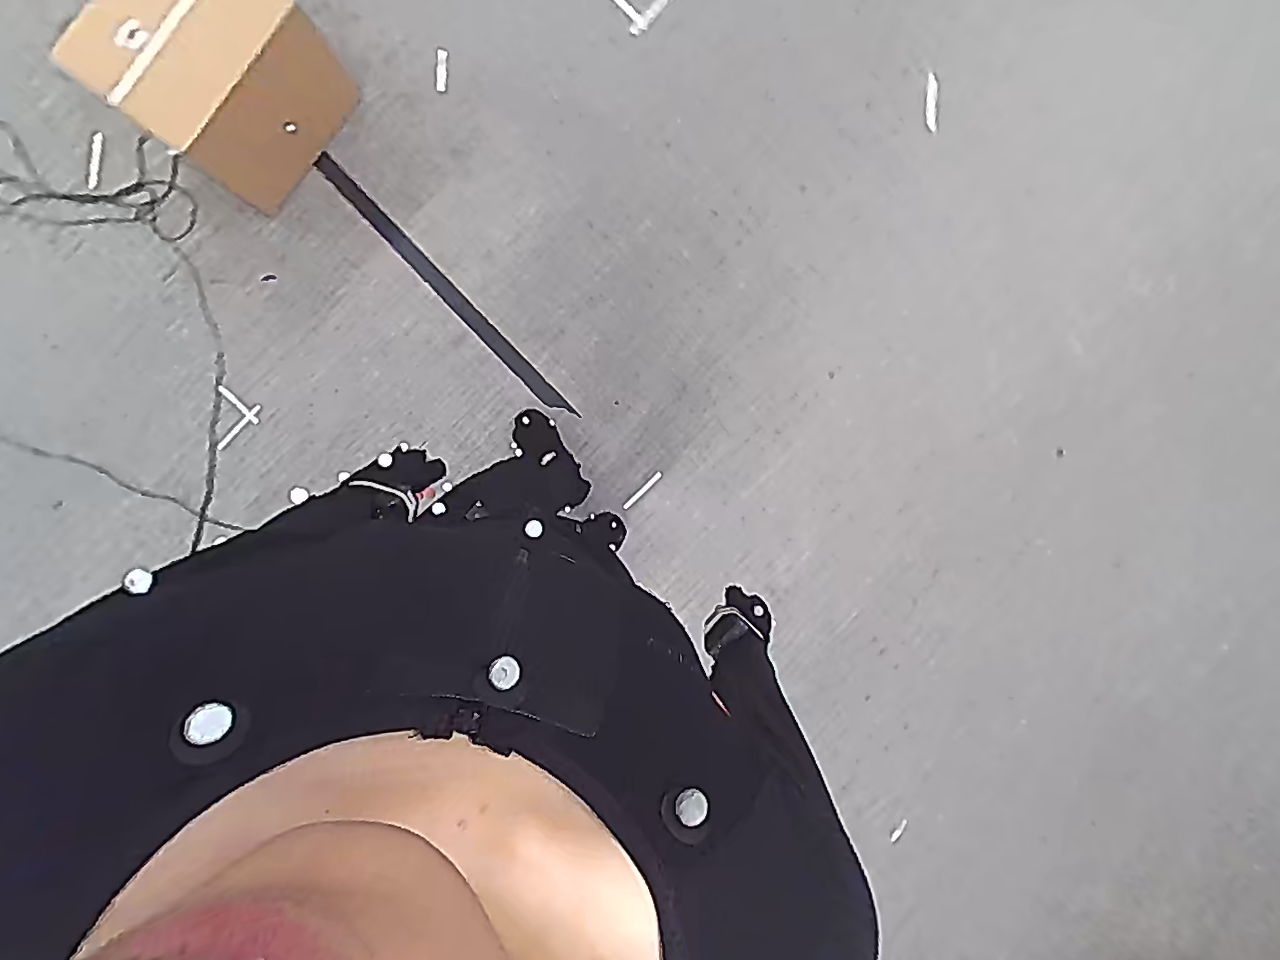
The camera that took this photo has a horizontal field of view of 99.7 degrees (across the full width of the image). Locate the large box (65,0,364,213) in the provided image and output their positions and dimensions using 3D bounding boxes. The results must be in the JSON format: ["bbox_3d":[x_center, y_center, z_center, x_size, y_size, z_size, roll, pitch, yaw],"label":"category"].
[{"bbox_3d":[-0.938,-0.931,1.251,0.320,0.320,0.408,36,91,-4],"label":"large box"}]
